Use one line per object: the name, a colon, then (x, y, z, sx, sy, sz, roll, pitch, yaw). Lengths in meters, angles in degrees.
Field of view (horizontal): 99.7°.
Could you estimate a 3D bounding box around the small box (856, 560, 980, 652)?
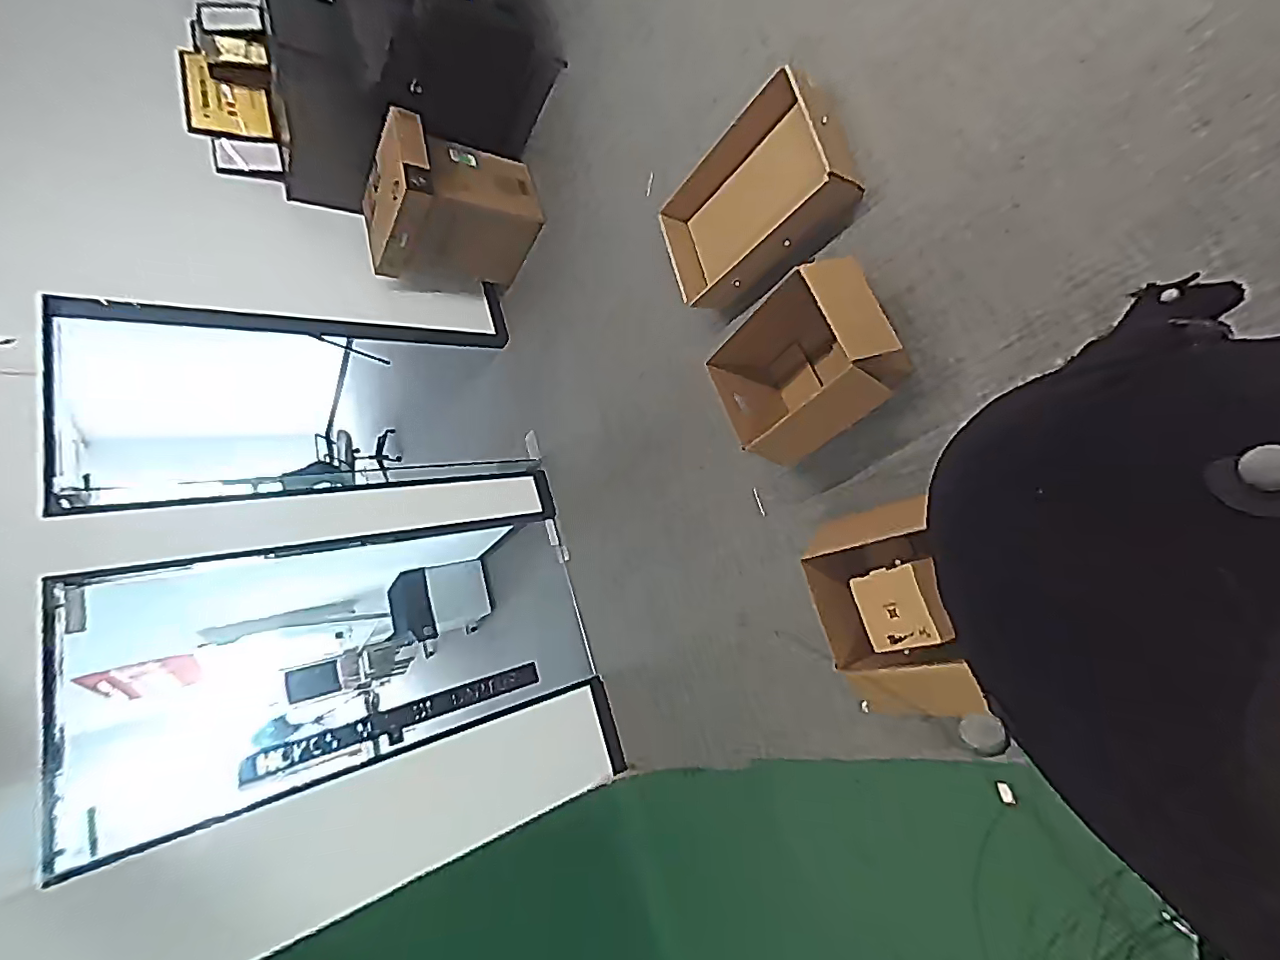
small box: (0.642, 0.288, 1.252, 0.168, 0.176, 0.179, -35, 63, 51)
